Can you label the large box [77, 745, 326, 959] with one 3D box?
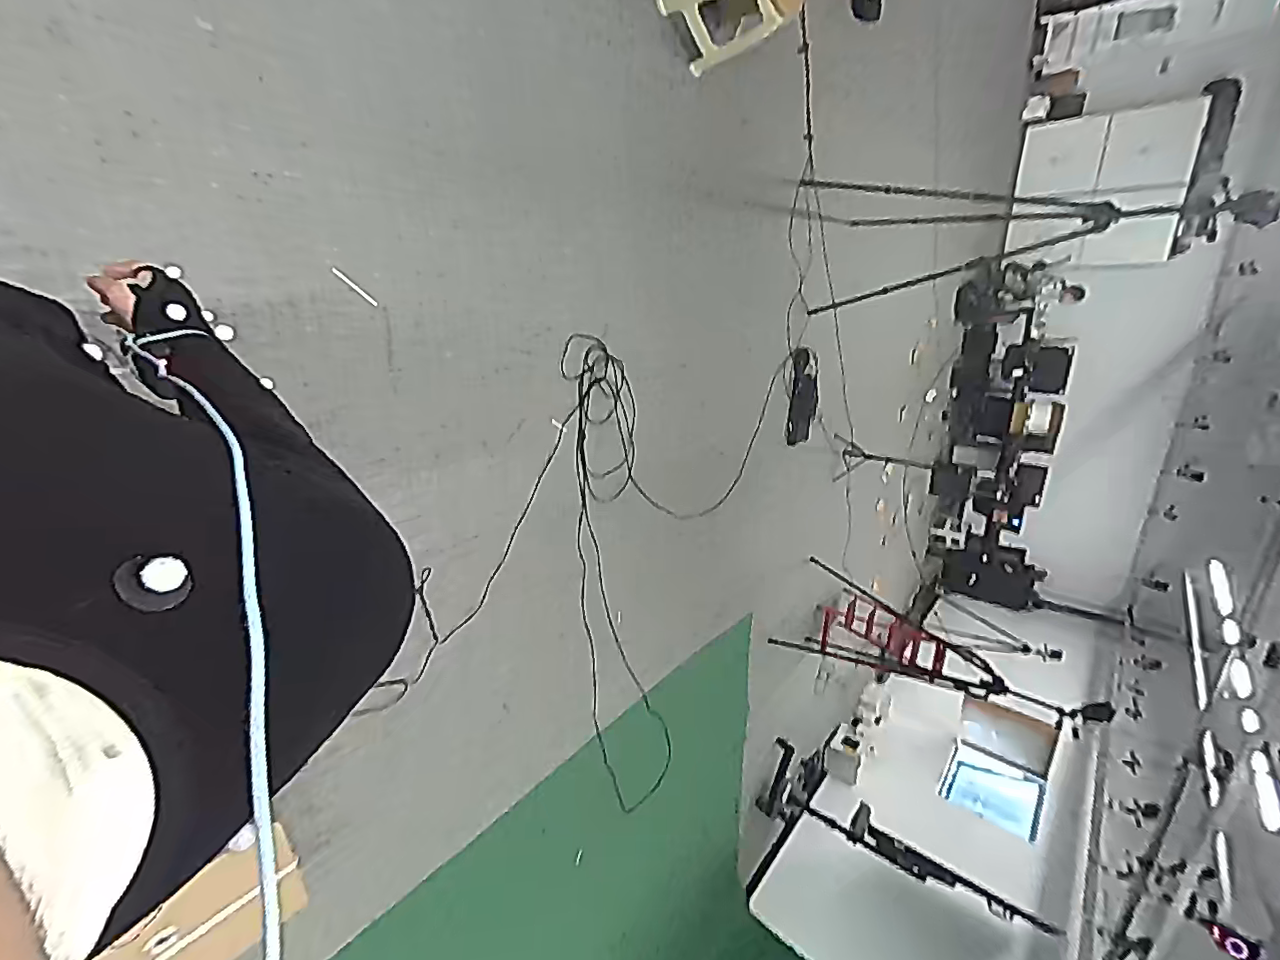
[{"bbox_3d":[-1.117,0.995,1.402,0.408,0.320,0.320,-24,118,-43],"label":"large box"}]
